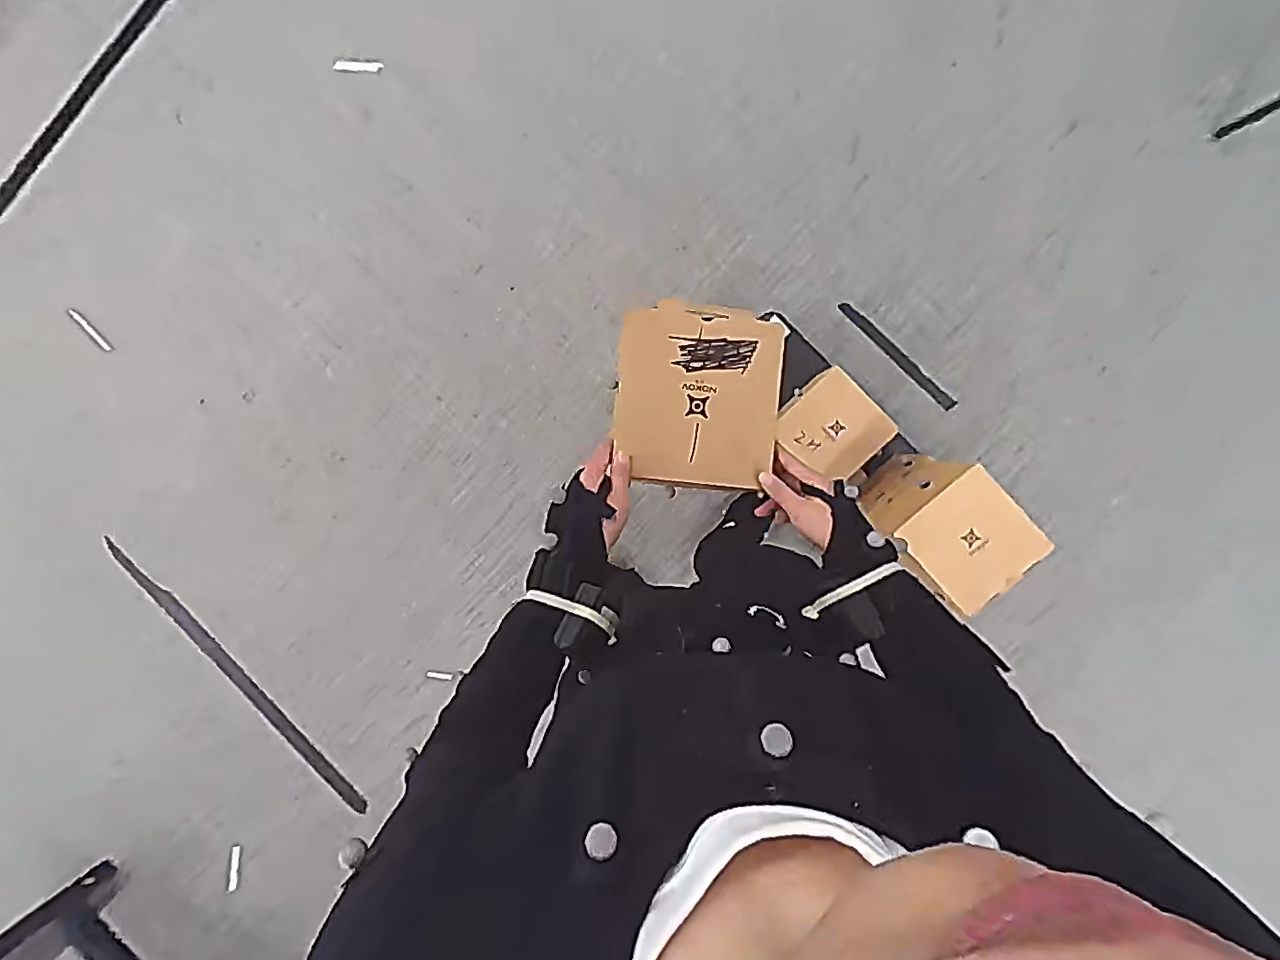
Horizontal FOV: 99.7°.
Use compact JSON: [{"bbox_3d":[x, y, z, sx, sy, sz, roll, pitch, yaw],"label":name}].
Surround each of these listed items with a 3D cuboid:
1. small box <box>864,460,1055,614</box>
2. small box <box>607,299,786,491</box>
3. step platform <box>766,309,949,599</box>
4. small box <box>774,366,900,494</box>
[{"bbox_3d":[0.505,0.084,0.888,0.168,0.176,0.179,-42,90,6],"label":"small box"},{"bbox_3d":[0.053,-0.083,0.618,0.168,0.176,0.179,6,88,-4],"label":"small box"},{"bbox_3d":[0.442,-0.057,1.224,0.684,0.204,0.286,45,95,2],"label":"step platform"},{"bbox_3d":[0.356,-0.095,1.055,0.179,0.176,0.168,-43,89,6],"label":"small box"}]
